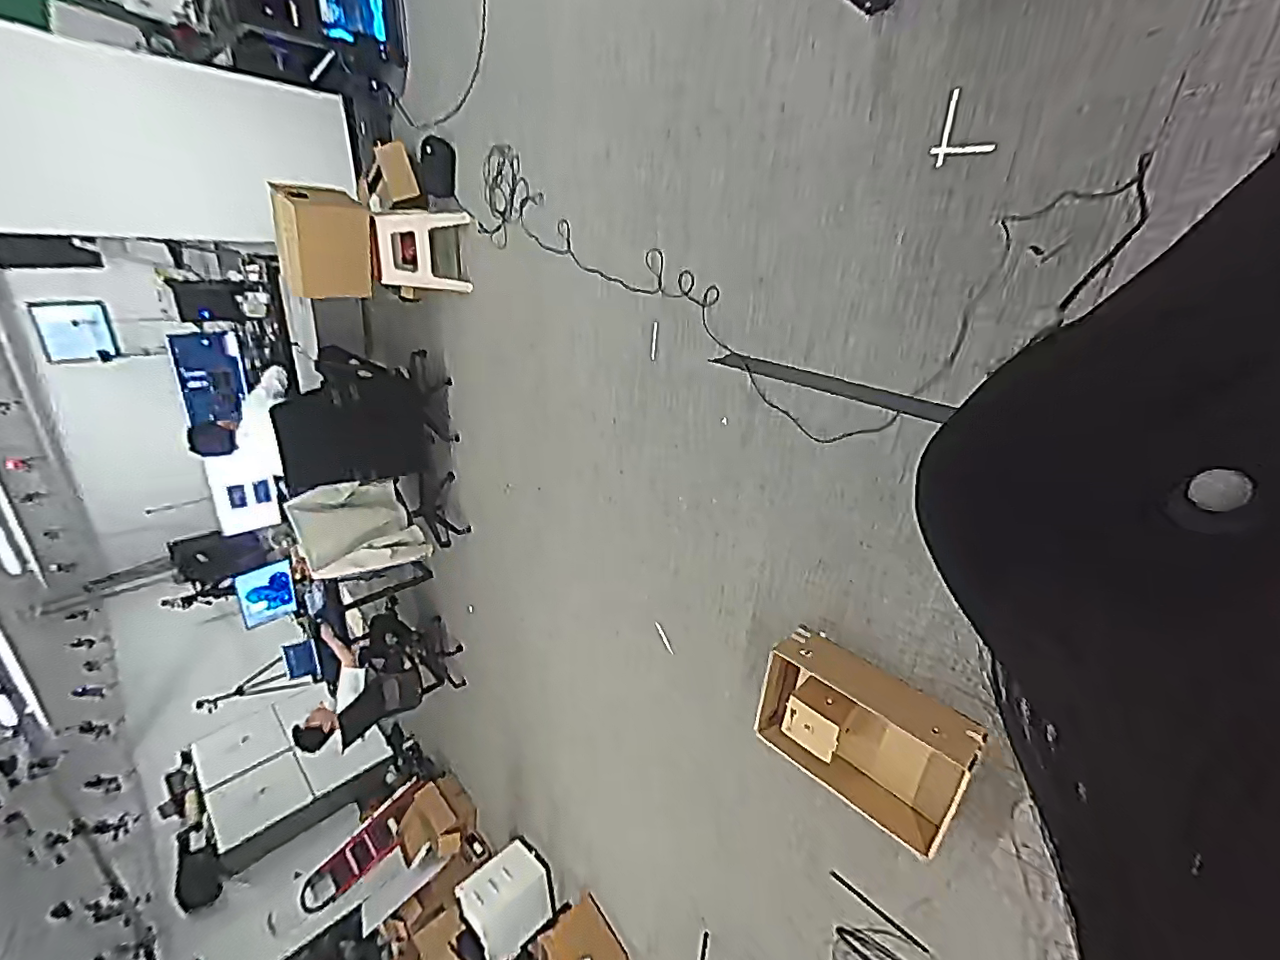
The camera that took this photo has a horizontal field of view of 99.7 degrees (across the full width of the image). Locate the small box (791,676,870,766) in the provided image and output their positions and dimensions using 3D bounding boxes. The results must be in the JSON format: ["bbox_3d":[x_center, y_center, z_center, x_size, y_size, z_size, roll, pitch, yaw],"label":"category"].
[{"bbox_3d":[0.625,0.779,1.771,0.179,0.176,0.168,25,120,37],"label":"small box"}]
